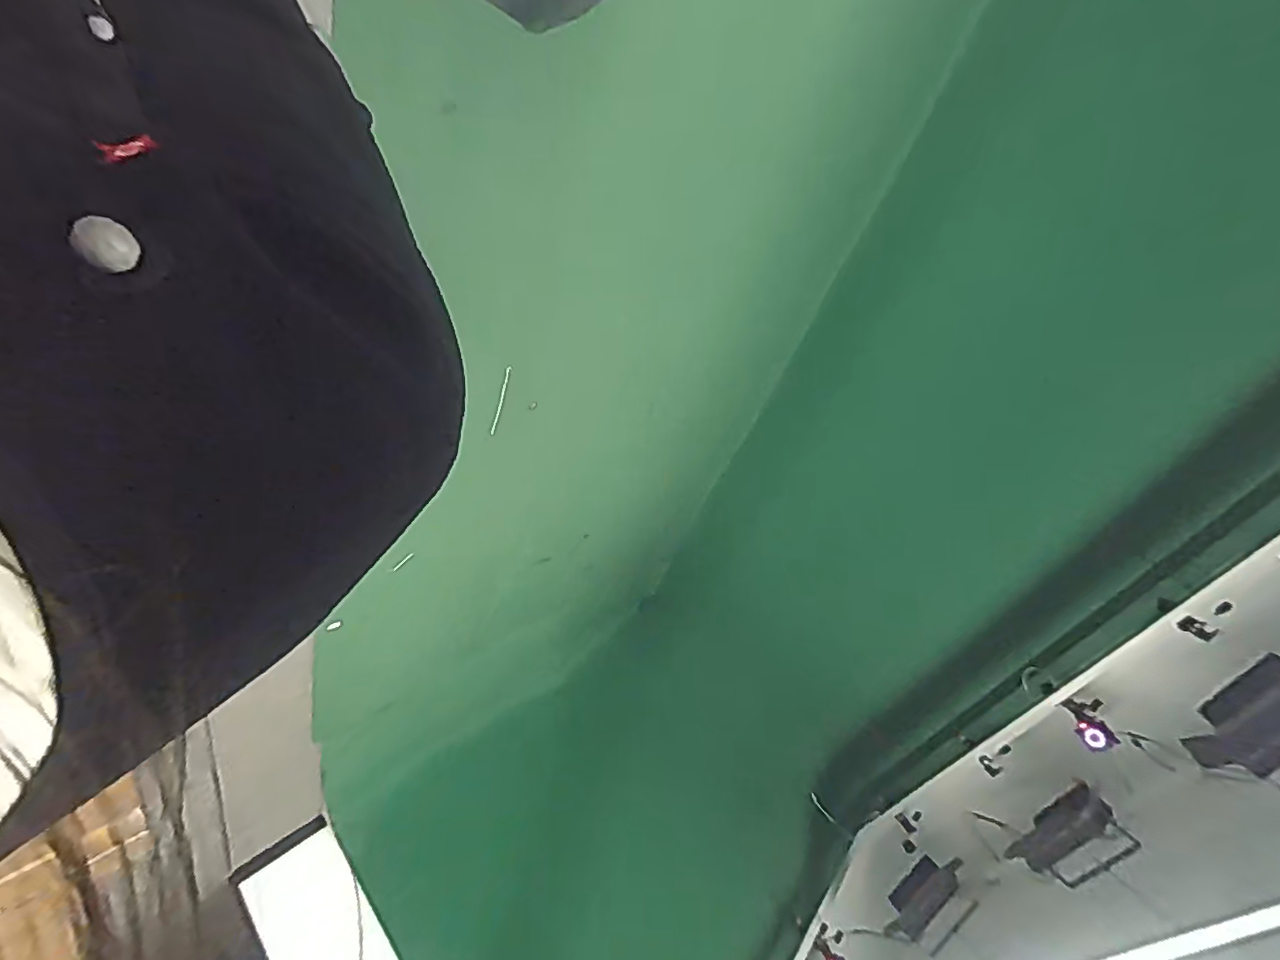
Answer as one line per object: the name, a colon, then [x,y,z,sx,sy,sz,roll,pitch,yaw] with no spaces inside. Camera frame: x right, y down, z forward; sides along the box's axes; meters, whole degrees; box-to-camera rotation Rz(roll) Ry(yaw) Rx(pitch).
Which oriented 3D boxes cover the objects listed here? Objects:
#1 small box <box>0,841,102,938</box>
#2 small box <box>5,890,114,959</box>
small box: [-1.675,1.177,1.535,0.168,0.176,0.179,-19,142,-49]
small box: [-1.563,1.271,1.457,0.179,0.176,0.168,-17,141,-52]
